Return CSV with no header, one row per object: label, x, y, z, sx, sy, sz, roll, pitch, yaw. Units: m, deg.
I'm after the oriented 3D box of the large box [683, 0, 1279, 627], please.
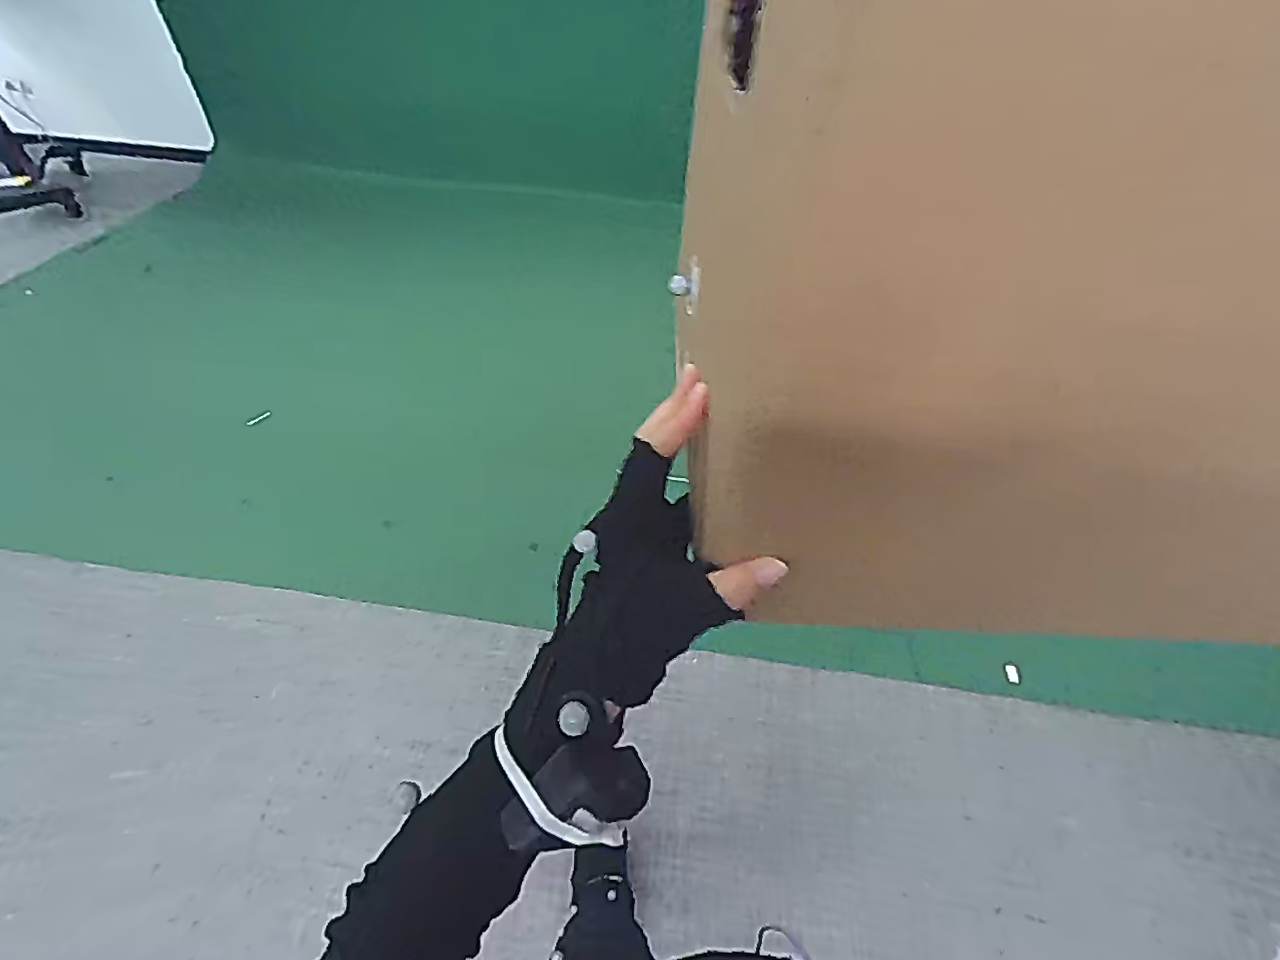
large box,0.248,-0.132,0.287,0.408,0.320,0.320,3,49,-3
